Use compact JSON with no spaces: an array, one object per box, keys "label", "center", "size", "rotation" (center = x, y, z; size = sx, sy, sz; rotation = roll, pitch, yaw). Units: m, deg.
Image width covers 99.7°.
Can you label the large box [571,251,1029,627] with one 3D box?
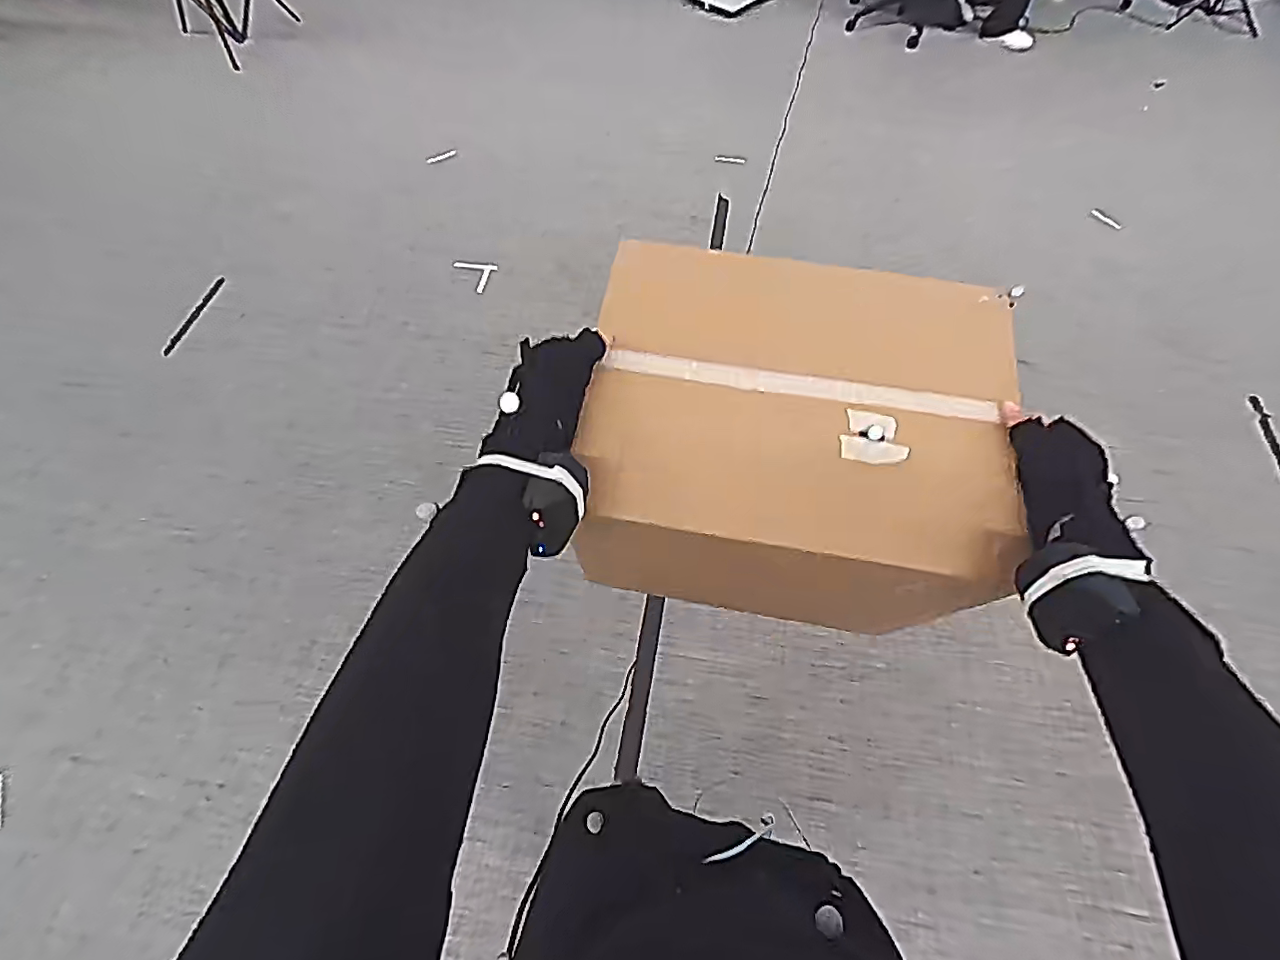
[{"label":"large box","center":[0.156,-0.027,0.658],"size":[0.408,0.320,0.320],"rotation":[10,68,4]}]
